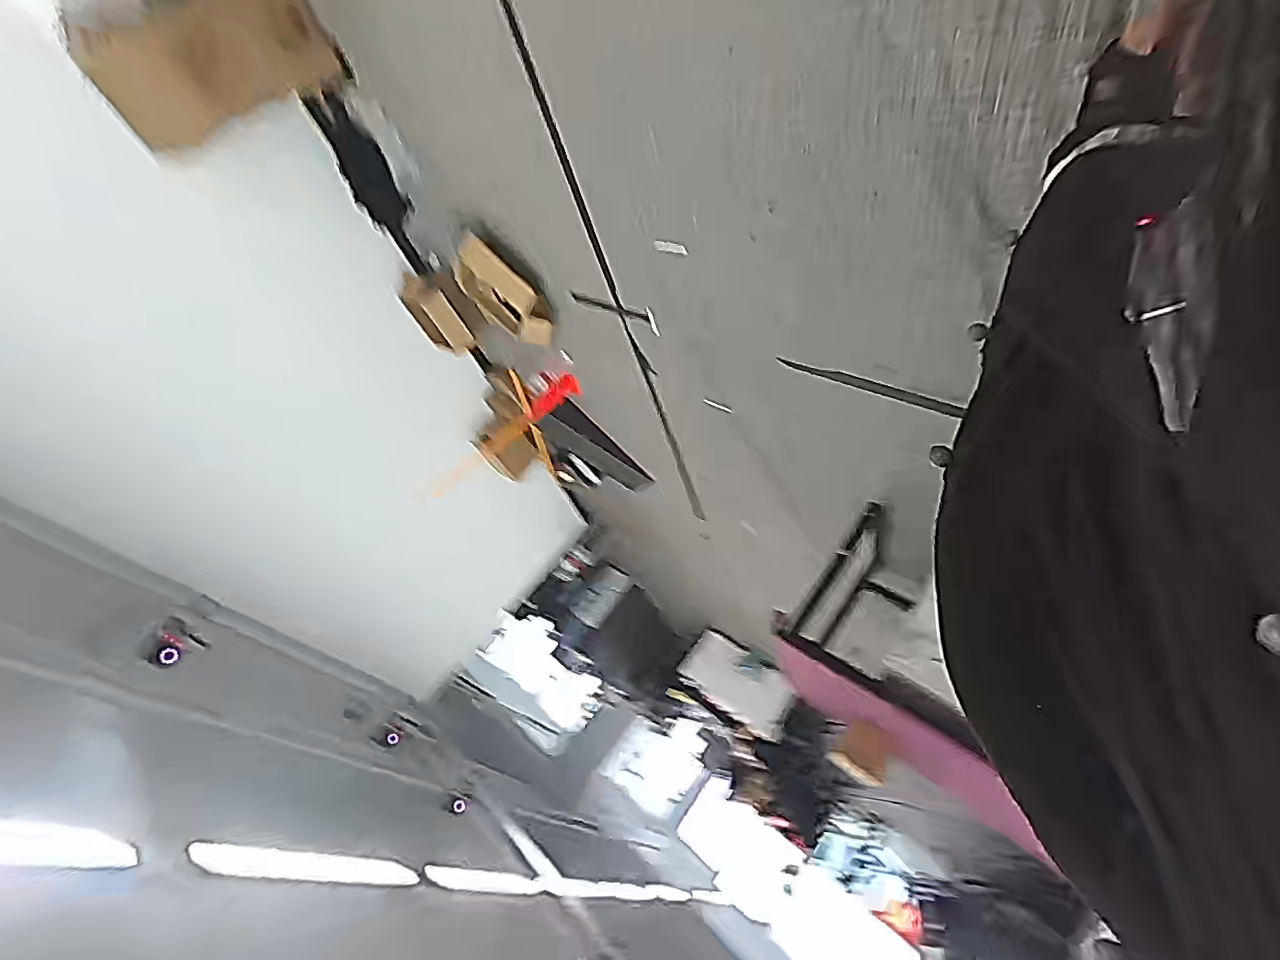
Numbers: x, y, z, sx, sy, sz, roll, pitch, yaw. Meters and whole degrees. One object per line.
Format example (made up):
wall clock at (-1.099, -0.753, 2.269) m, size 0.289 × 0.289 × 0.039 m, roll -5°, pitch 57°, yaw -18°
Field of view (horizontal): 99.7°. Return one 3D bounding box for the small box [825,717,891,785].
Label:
small box at (0.859, 1.063, 2.139) m, size 0.179 × 0.176 × 0.168 m, roll 29°, pitch 157°, yaw 31°
